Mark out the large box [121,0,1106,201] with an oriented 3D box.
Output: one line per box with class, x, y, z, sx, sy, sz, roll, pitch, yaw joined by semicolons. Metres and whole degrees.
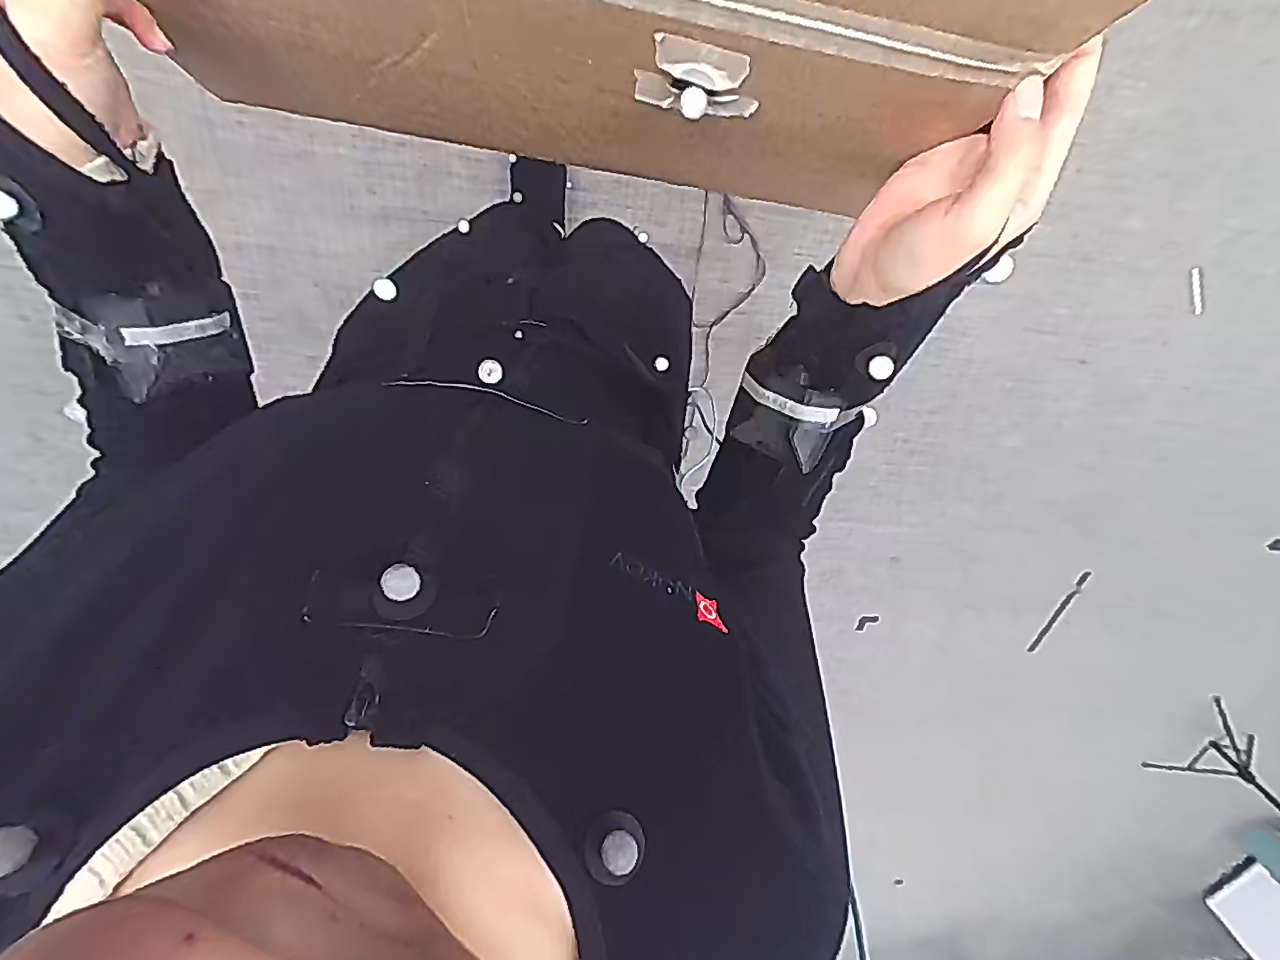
large box;-0.019;-0.344;0.186;0.408;0.320;0.320;6;96;-6
